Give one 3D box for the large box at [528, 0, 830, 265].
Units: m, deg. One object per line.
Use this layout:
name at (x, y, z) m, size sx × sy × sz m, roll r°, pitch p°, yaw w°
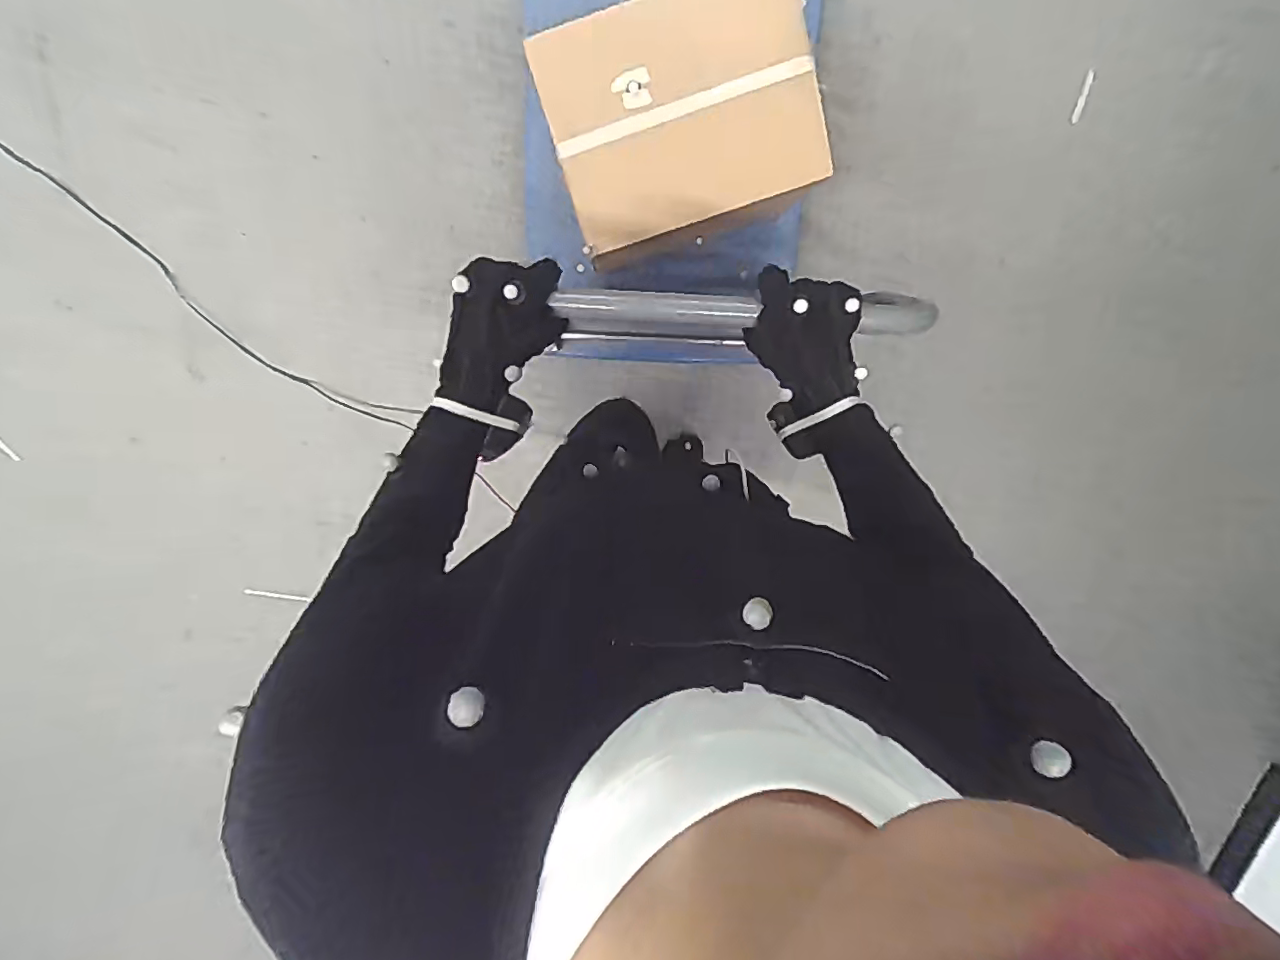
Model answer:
large box at (0.064, -0.612, 0.962) m, size 0.408 × 0.320 × 0.320 m, roll -17°, pitch 105°, yaw 4°
